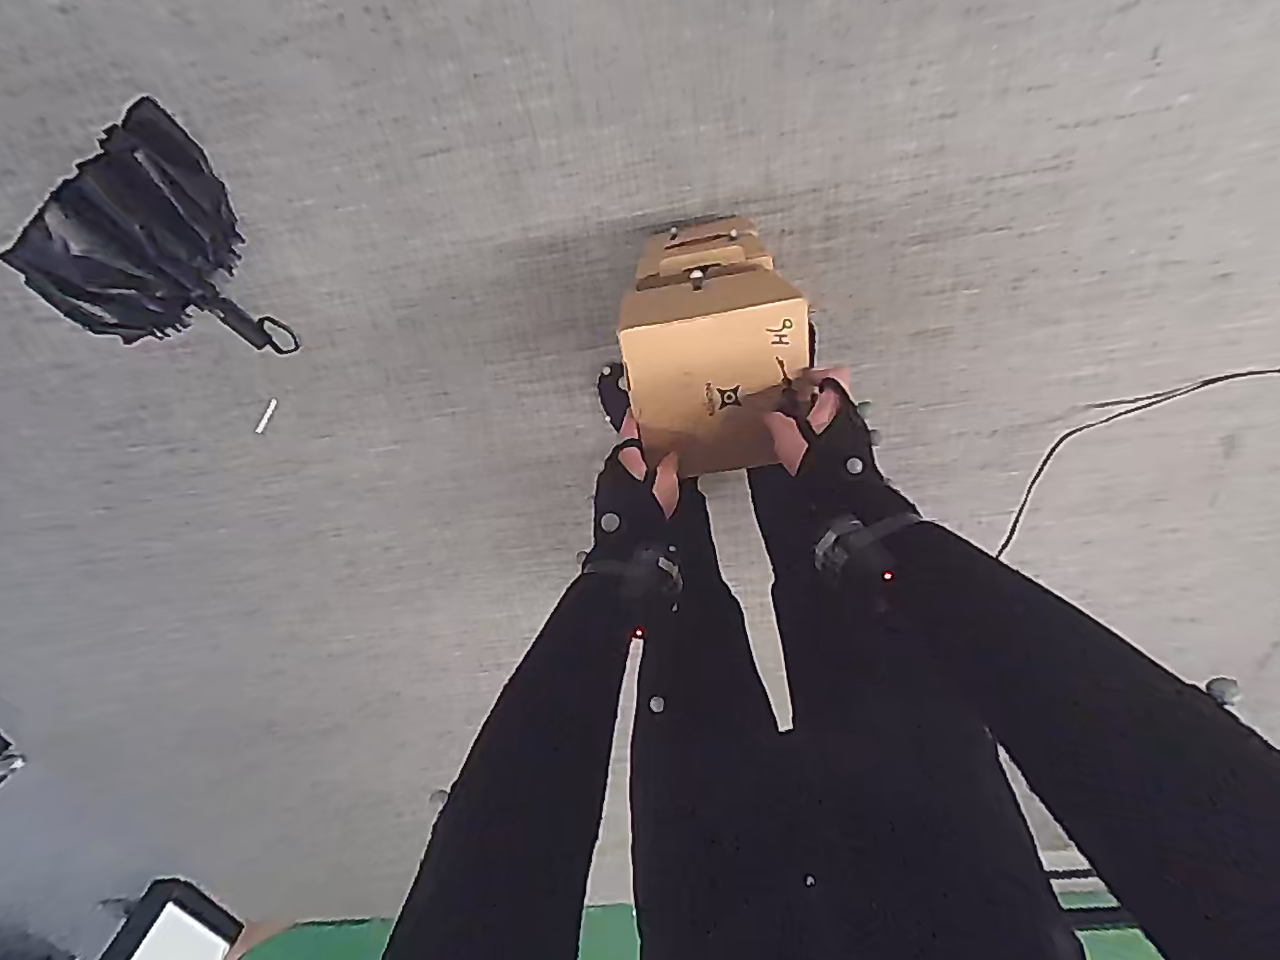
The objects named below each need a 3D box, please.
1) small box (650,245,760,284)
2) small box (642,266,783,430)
[{"bbox_3d":[0.114,-0.279,0.898,0.168,0.176,0.179,-10,120,10],"label":"small box"},{"bbox_3d":[0.099,-0.192,0.758,0.168,0.176,0.179,-9,119,9],"label":"small box"}]
